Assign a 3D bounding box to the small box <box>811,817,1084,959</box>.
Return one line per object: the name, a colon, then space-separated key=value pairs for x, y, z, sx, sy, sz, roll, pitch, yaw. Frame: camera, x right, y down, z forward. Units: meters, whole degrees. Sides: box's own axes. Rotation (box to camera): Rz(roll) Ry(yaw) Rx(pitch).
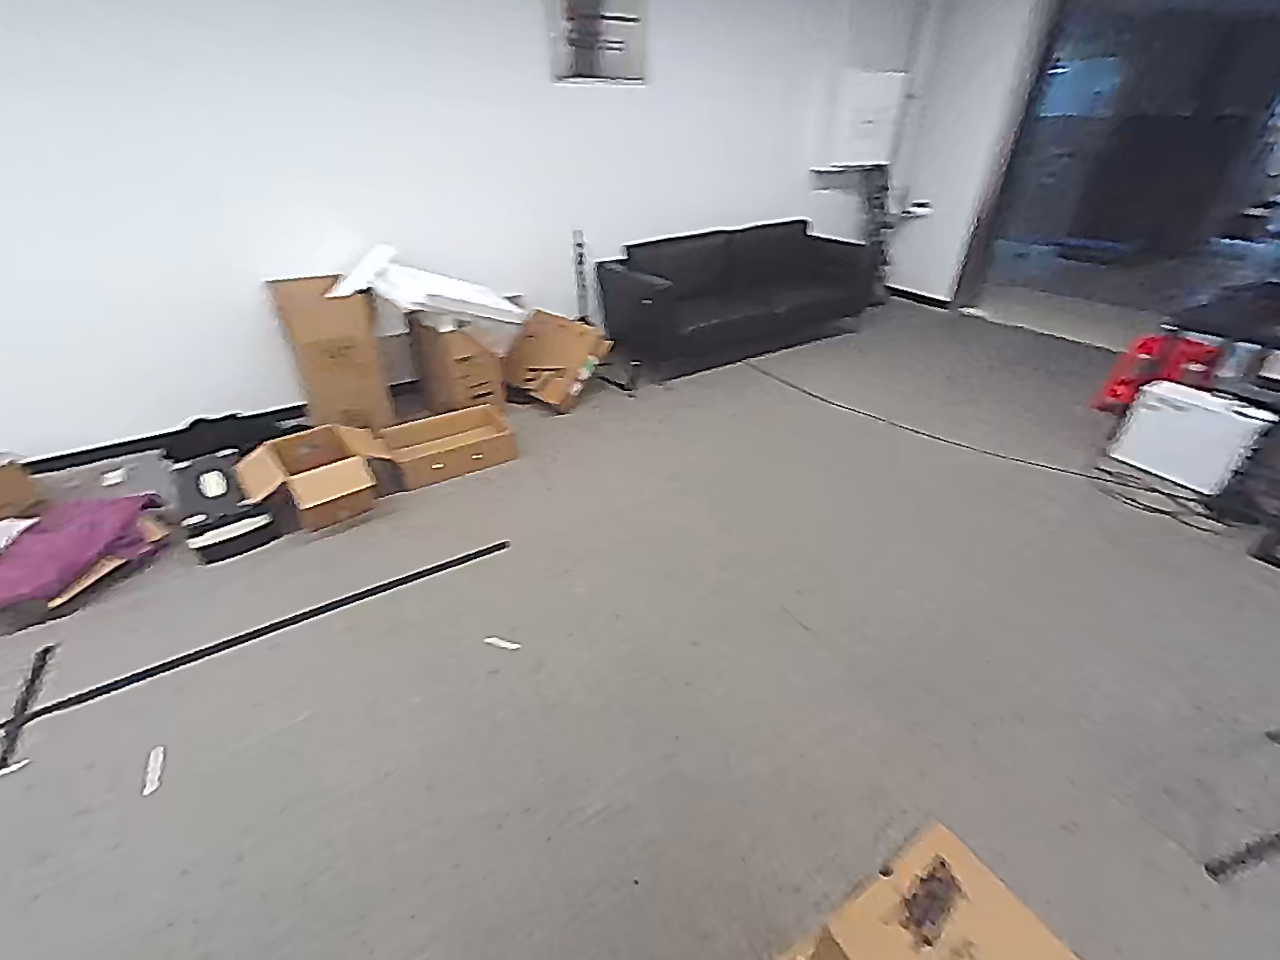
small box: x=0.280 y=0.473 z=0.501 sx=0.168 sy=0.176 sz=0.179 roll=-20 pitch=38 yaw=-24
